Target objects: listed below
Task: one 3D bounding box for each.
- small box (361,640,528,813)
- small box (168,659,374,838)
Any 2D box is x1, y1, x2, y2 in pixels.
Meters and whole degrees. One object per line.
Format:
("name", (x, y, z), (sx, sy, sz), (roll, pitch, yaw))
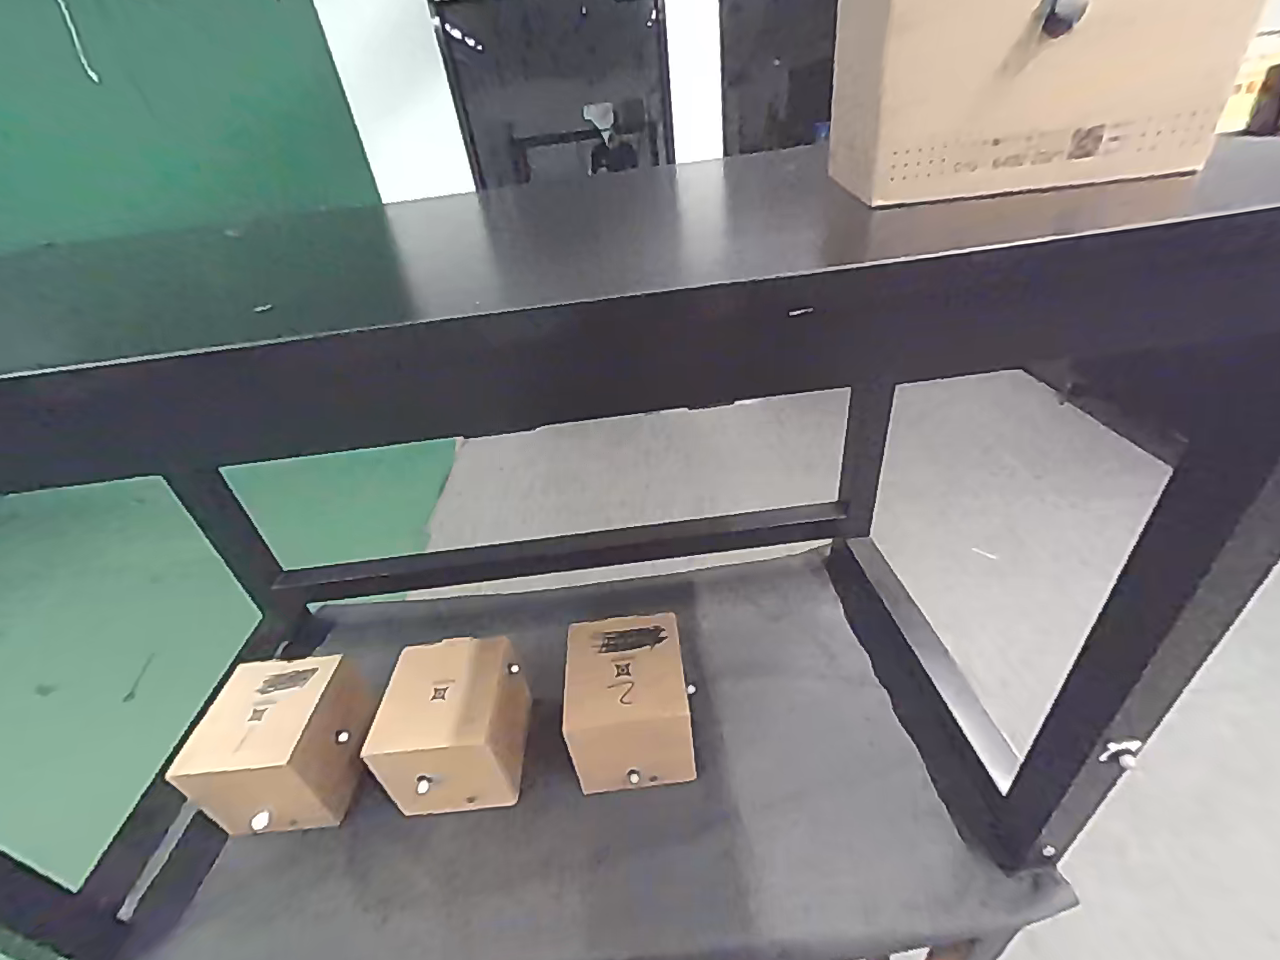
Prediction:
("small box", (-0.272, 0.369, 0.803), (0.168, 0.176, 0.179), (-6, 33, 1))
("small box", (-0.524, 0.397, 0.806), (0.168, 0.176, 0.179), (-7, 34, 2))
